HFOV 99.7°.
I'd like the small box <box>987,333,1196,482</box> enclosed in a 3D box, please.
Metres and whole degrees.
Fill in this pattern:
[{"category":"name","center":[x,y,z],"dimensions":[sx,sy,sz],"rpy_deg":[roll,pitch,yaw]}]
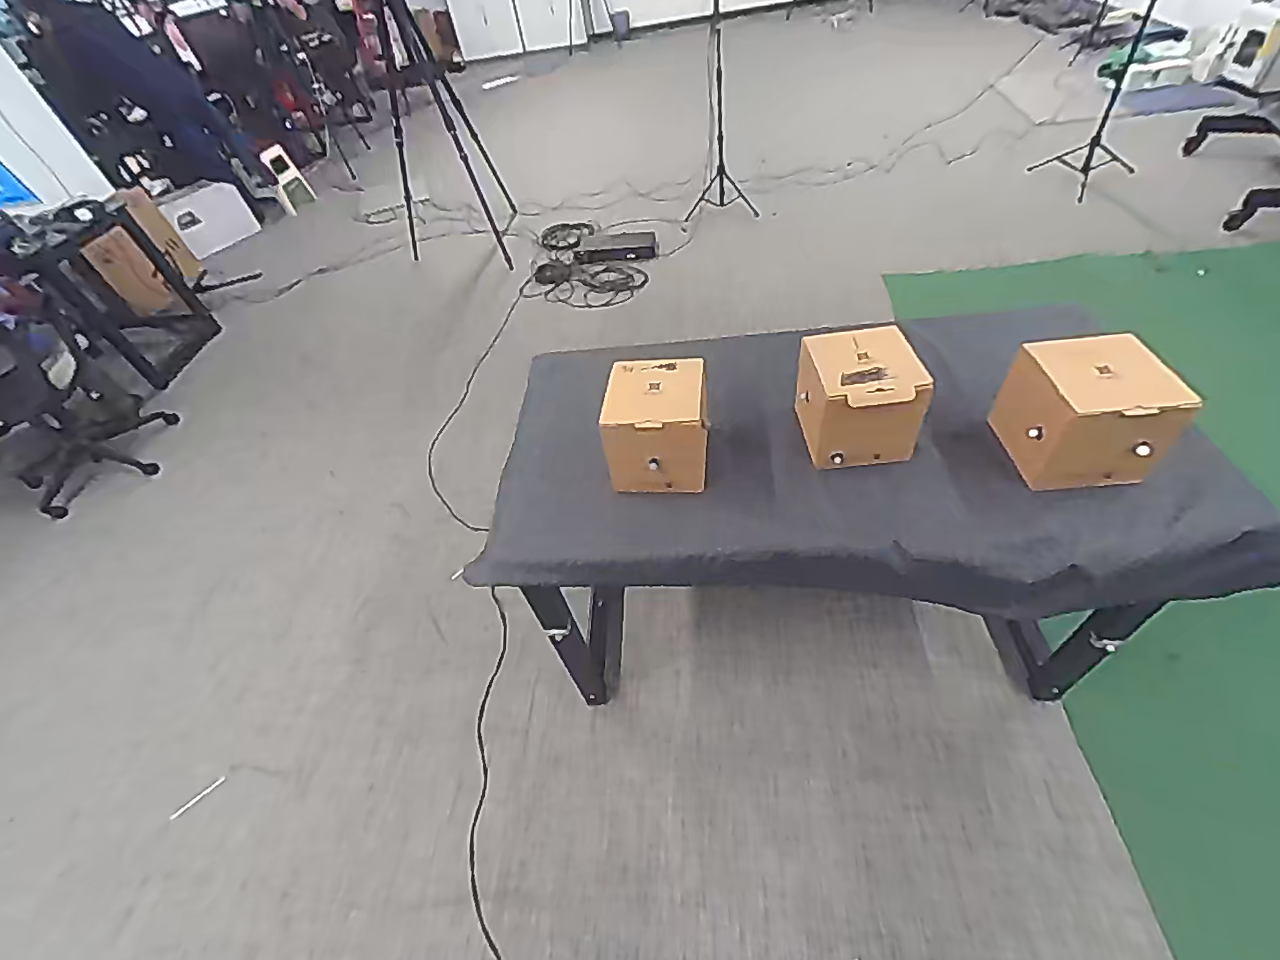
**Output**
[{"category":"small box","center":[0.699,-0.109,0.866],"dimensions":[0.168,0.176,0.179],"rpy_deg":[-4,46,6]}]

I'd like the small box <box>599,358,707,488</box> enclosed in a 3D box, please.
[{"category":"small box","center":[0.033,-0.098,0.977],"dimensions":[0.168,0.176,0.179],"rpy_deg":[0,48,10]}]

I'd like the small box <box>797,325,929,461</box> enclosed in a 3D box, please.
[{"category":"small box","center":[0.381,-0.147,0.958],"dimensions":[0.168,0.176,0.179],"rpy_deg":[-6,47,5]}]
